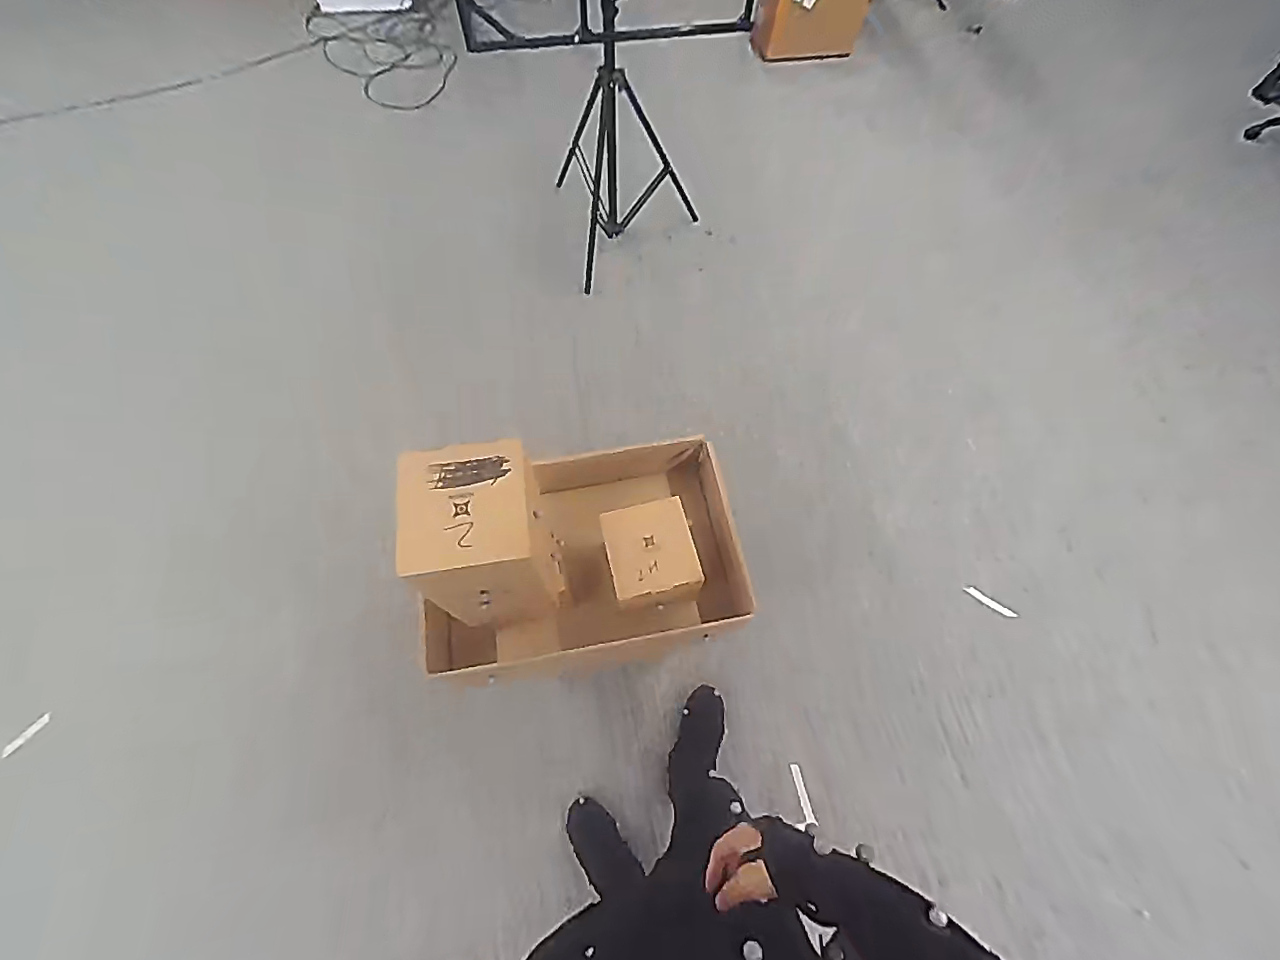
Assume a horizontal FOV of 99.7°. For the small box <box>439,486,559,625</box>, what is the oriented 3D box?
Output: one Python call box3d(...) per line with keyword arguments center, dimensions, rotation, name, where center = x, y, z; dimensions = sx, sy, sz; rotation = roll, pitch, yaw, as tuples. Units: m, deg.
box3d(center=(-0.236, 0.133, 0.925), dimensions=(0.168, 0.176, 0.179), rotation=(-9, 64, -5), name="small box")
